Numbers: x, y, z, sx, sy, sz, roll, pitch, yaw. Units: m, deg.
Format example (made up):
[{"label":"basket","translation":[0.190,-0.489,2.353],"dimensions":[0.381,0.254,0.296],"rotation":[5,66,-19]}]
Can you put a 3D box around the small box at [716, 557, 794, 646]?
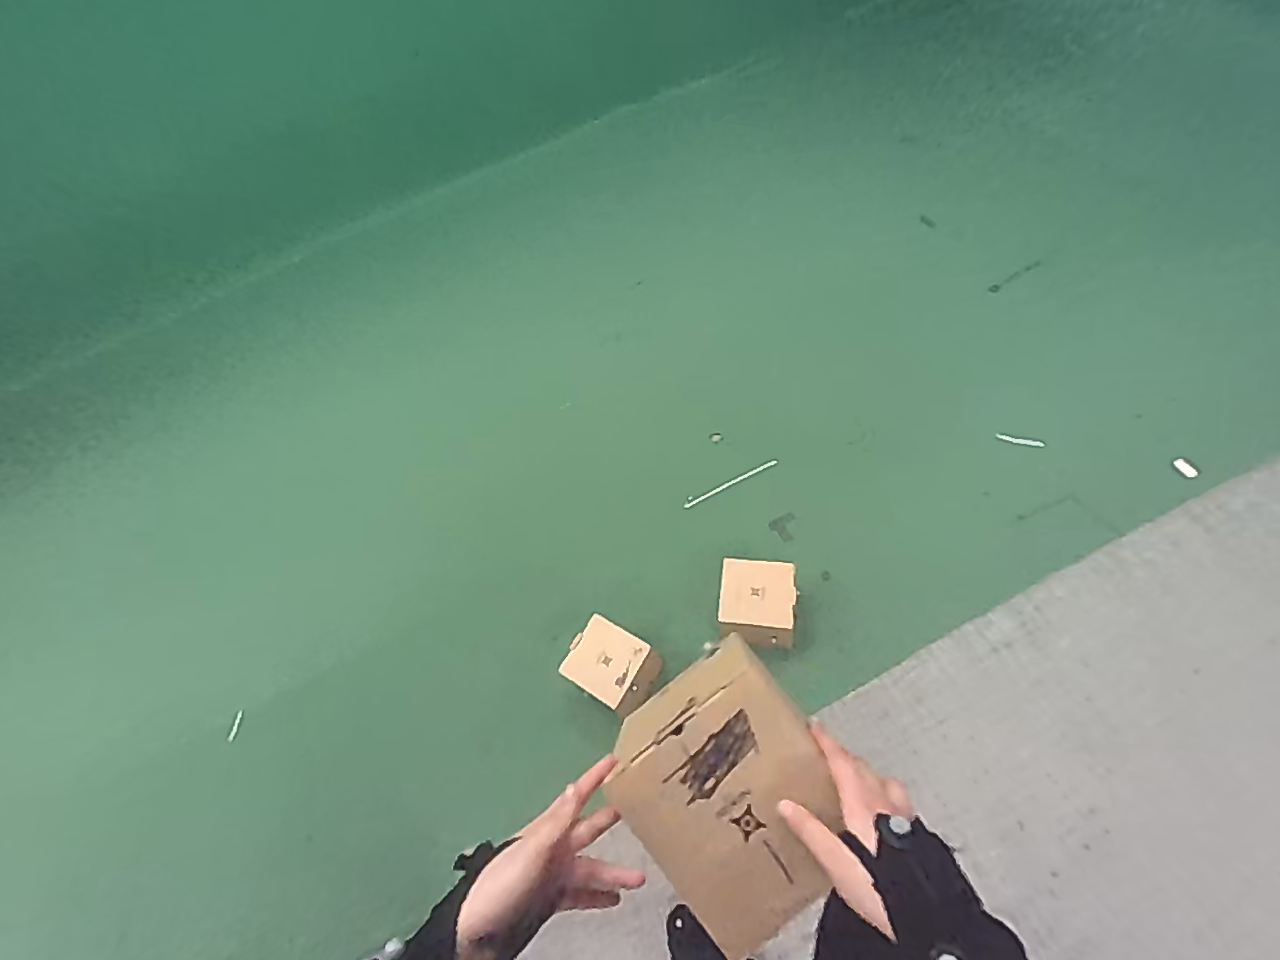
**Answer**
[{"label":"small box","translation":[0.292,0.309,1.360],"dimensions":[0.179,0.176,0.168],"rotation":[2,58,15]}]

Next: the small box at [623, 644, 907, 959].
[{"label":"small box","translation":[0.104,0.277,0.517],"dimensions":[0.168,0.176,0.179],"rotation":[-37,83,1]}]

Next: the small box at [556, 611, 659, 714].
[{"label":"small box","translation":[-0.074,0.460,1.349],"dimensions":[0.179,0.176,0.168],"rotation":[24,67,26]}]
